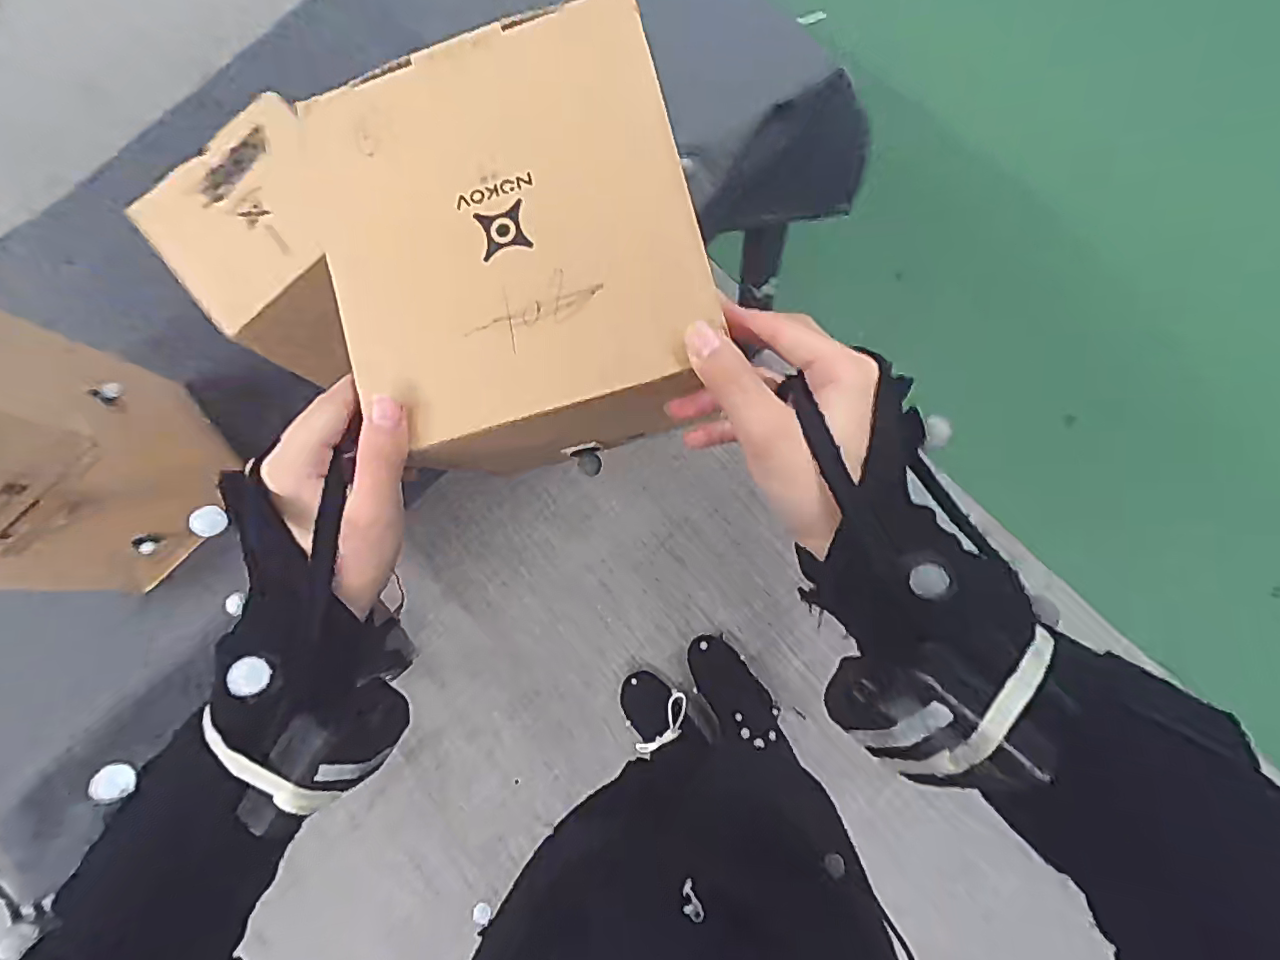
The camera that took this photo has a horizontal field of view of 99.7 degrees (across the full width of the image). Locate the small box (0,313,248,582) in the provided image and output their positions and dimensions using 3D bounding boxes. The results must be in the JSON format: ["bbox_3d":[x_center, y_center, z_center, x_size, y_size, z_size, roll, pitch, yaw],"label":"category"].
[{"bbox_3d":[-0.540,-0.014,0.518,0.168,0.176,0.179,-45,77,-4],"label":"small box"}]

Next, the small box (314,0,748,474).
[{"bbox_3d":[-0.045,-0.109,0.315,0.168,0.176,0.179,-14,86,5],"label":"small box"}]

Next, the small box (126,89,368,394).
[{"bbox_3d":[-0.317,-0.213,0.527,0.168,0.176,0.179,-44,77,-2],"label":"small box"}]
